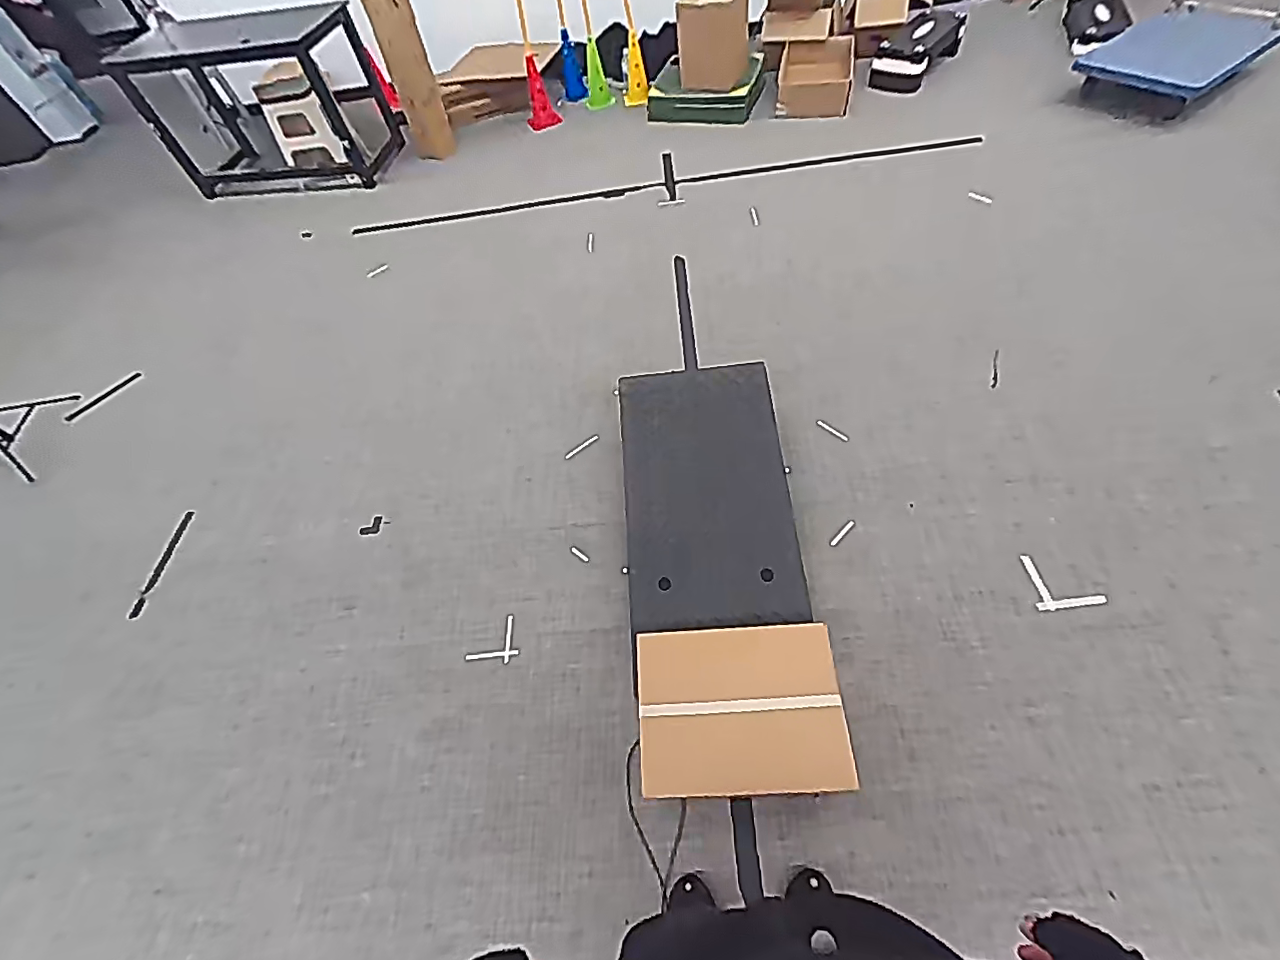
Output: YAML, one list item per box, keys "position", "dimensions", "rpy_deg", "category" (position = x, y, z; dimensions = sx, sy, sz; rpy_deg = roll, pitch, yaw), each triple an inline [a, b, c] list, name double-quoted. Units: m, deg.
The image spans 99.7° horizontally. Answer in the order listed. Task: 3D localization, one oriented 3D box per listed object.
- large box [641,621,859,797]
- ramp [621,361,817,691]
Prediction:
- position: [0.226, 0.526, 1.222]
  dimensions: [0.408, 0.320, 0.320]
  rpy_deg: [-5, 58, 5]
  category: "large box"
- position: [0.209, 0.082, 1.610]
  dimensions: [0.509, 0.206, 0.991]
  rpy_deg: [-7, 55, 3]
  category: "ramp"
